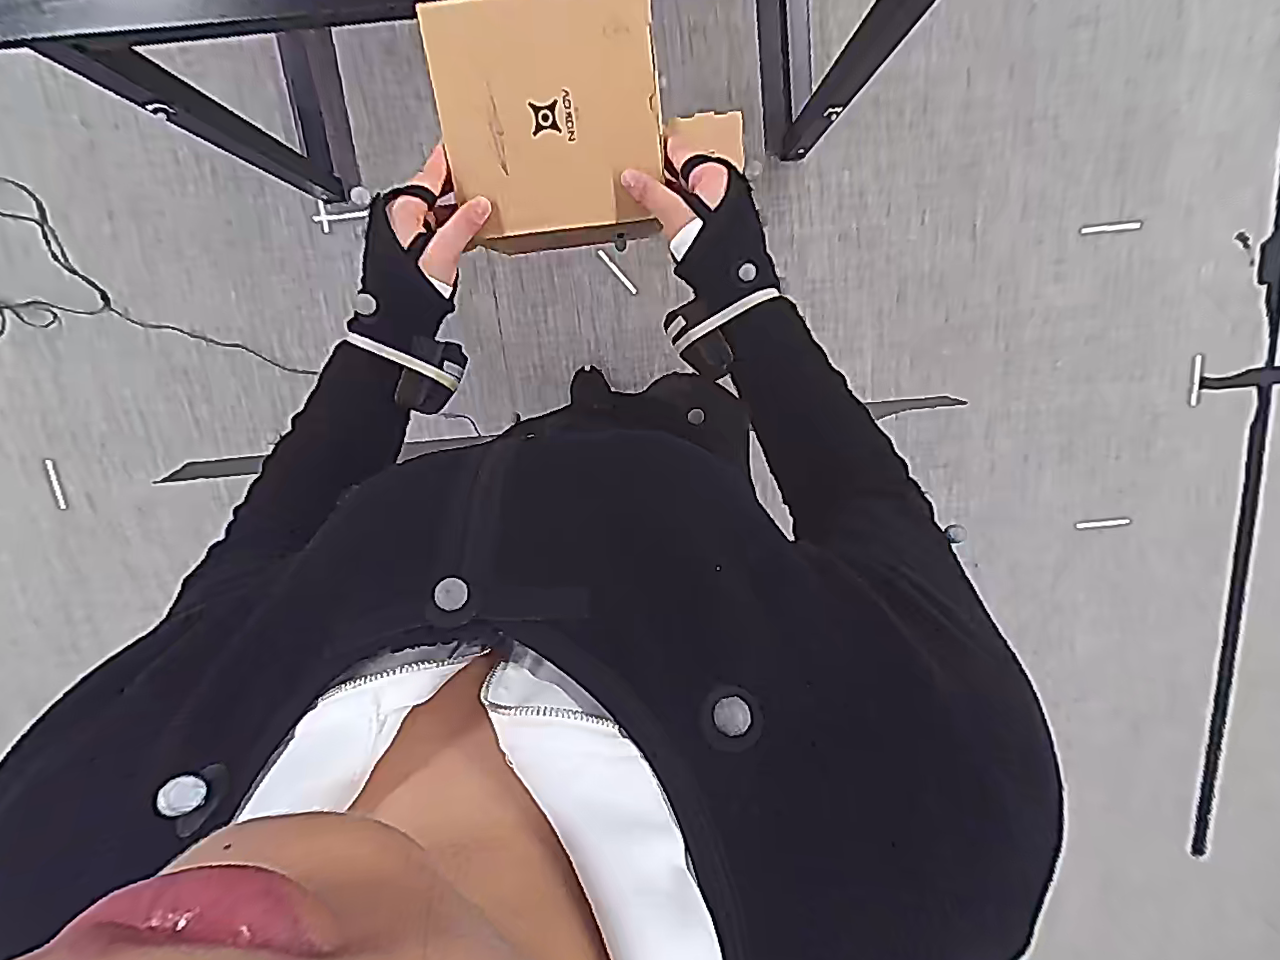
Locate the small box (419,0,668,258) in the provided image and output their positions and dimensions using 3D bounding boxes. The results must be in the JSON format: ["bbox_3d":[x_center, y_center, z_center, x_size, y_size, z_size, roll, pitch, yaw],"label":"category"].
[{"bbox_3d":[-0.073,-0.309,0.503,0.179,0.176,0.168,-7,107,2],"label":"small box"}]

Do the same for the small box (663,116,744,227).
[{"bbox_3d":[0.142,-0.716,1.270,0.168,0.176,0.179,-6,101,1],"label":"small box"}]
